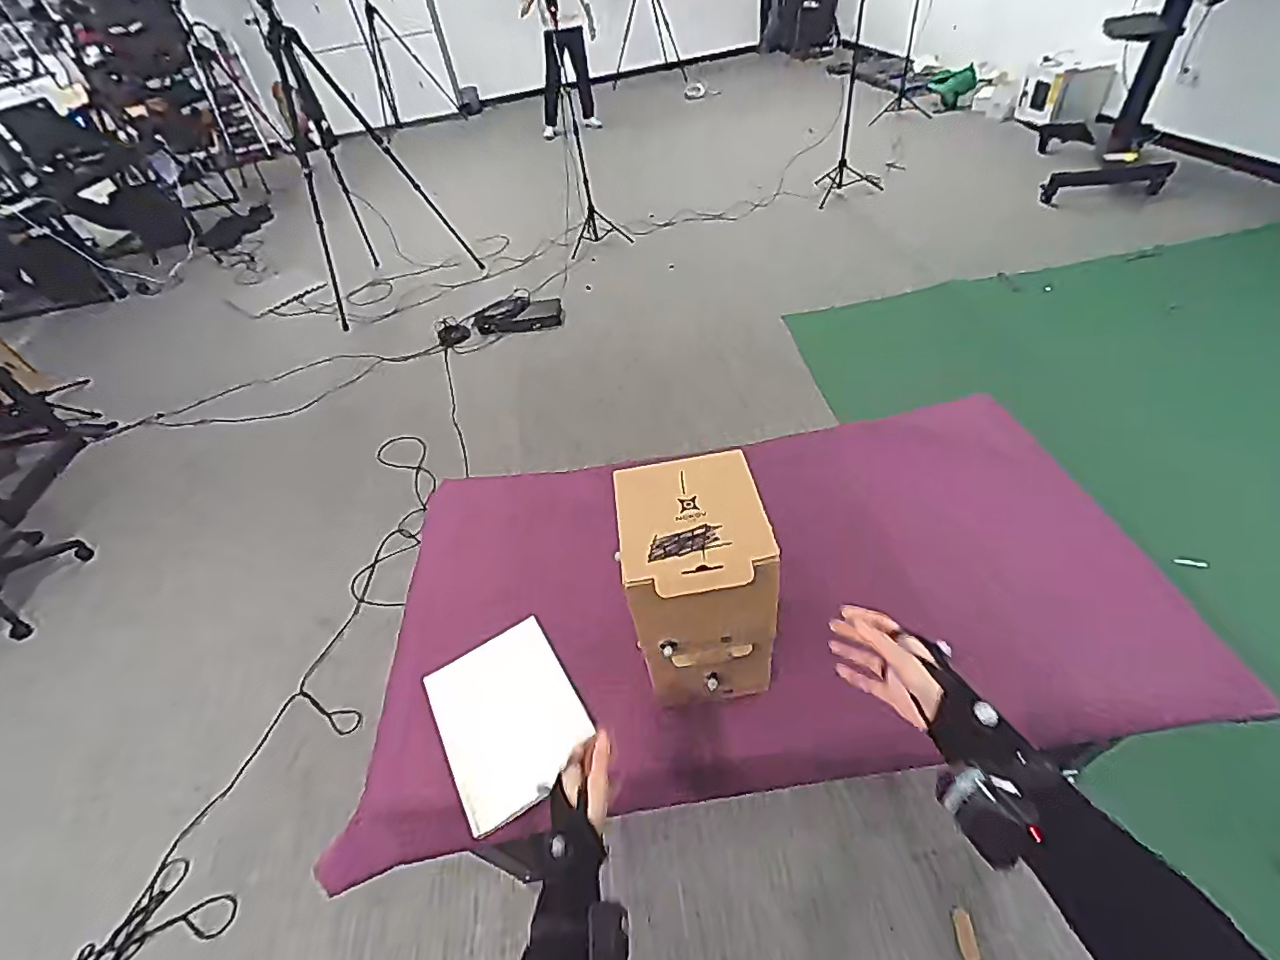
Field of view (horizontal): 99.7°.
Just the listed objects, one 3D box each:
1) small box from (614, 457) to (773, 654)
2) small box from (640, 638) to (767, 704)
[{"bbox_3d":[0.065,0.100,0.675,0.168,0.176,0.179,-9,43,2],"label":"small box"},{"bbox_3d":[0.086,0.212,0.795,0.168,0.176,0.179,-9,45,1],"label":"small box"}]
